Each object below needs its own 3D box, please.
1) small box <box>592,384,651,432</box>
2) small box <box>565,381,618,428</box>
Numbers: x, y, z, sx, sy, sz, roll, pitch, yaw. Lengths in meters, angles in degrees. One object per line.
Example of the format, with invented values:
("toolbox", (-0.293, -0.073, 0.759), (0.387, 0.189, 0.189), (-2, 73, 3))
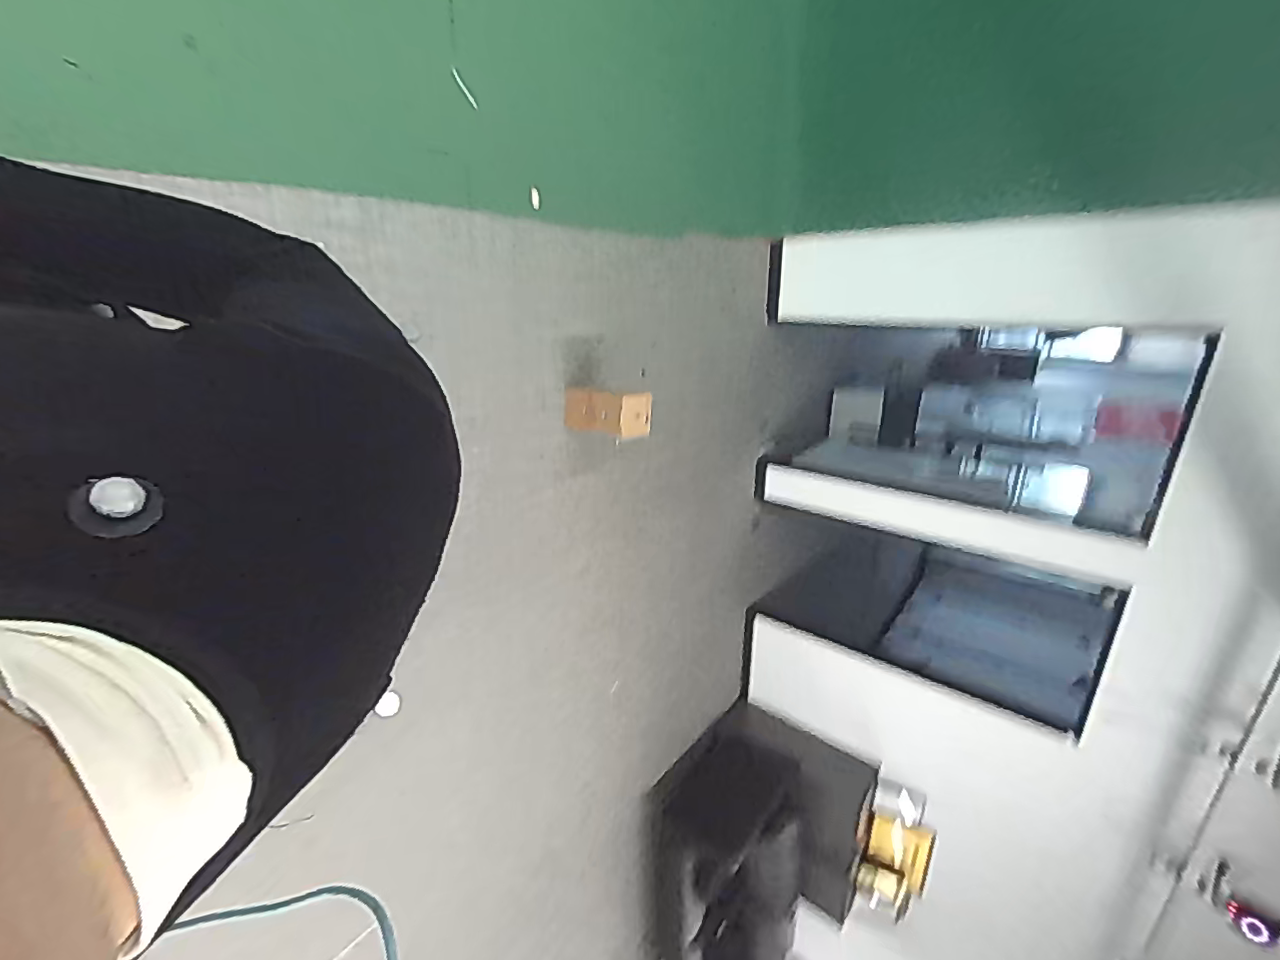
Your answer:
("small box", (-0.077, -0.291, 2.160), (0.179, 0.176, 0.168), (-15, 114, -47))
("small box", (-0.200, -0.321, 2.264), (0.168, 0.176, 0.179), (-15, 114, -48))
